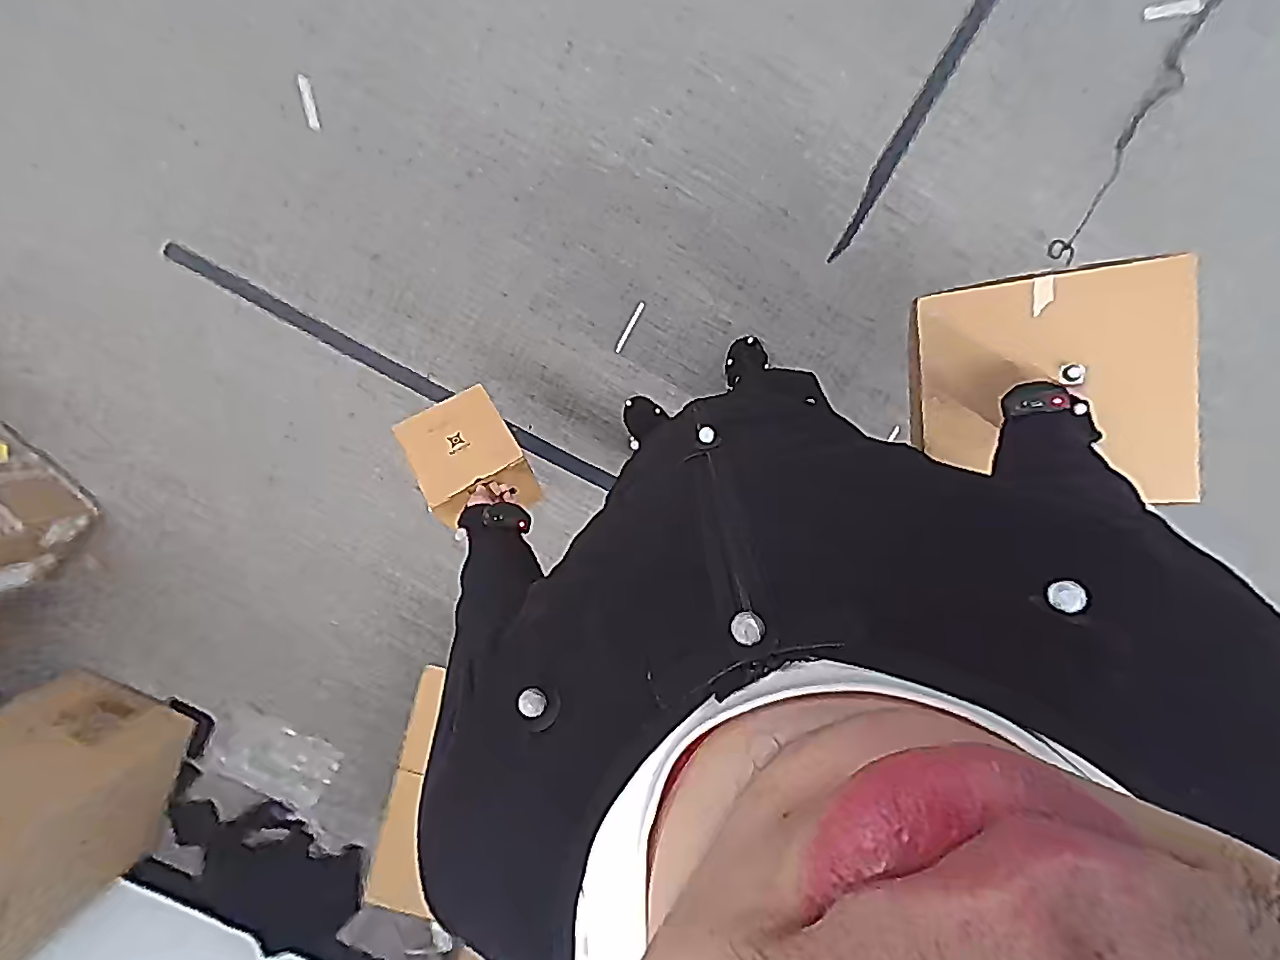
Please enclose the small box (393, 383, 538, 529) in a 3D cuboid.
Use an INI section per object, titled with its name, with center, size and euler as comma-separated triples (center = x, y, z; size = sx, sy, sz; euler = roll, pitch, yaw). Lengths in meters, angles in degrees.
[small box]
center = -0.298, -0.032, 0.959
size = 0.168, 0.176, 0.179
euler = -30, 68, -14
